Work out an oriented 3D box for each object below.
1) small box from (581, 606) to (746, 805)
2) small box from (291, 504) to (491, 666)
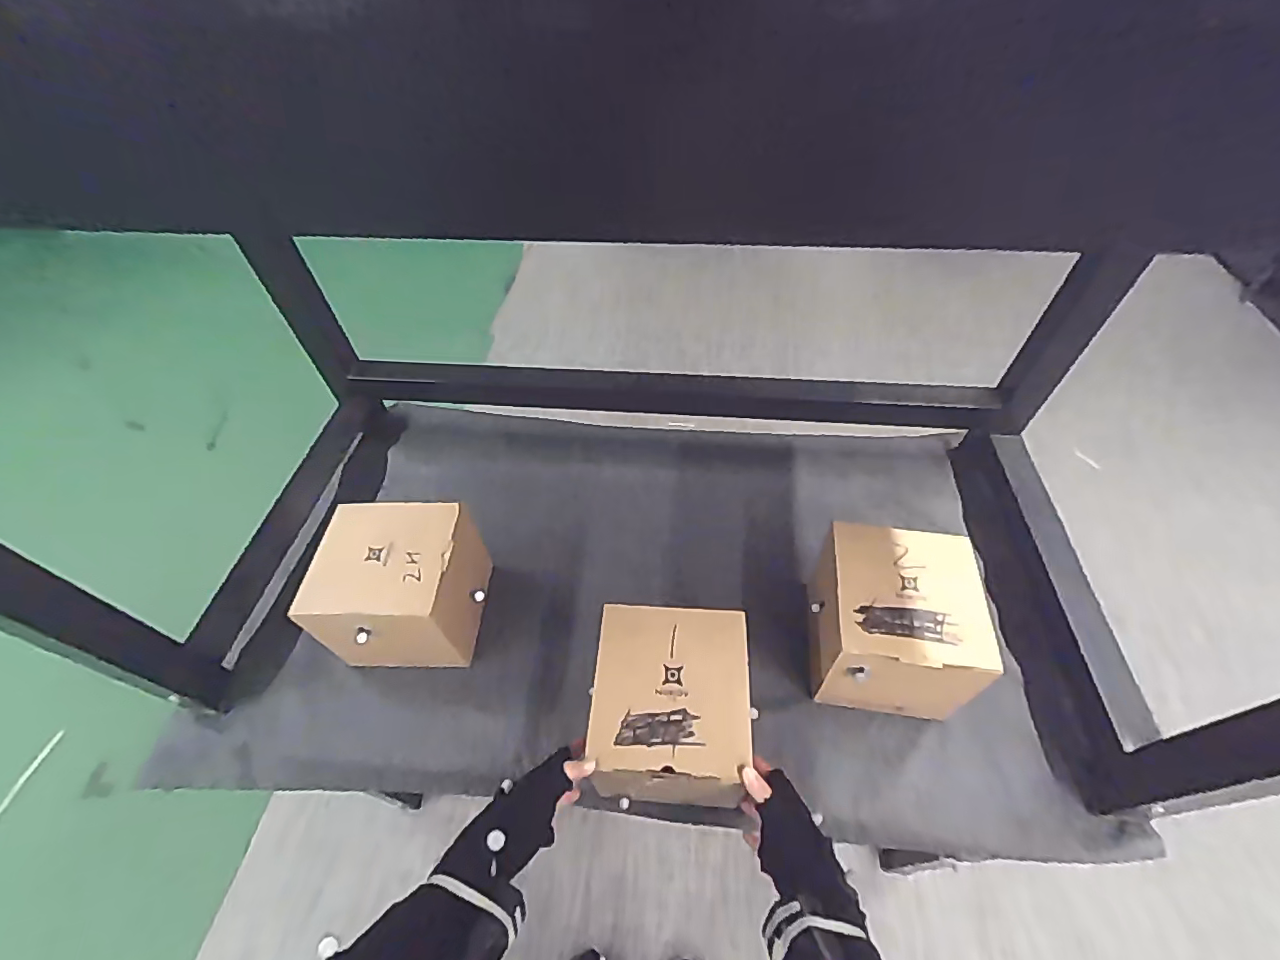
[{"bbox_3d":[0.033,0.269,0.637,0.168,0.176,0.179,3,51,5],"label":"small box"},{"bbox_3d":[-0.326,0.149,0.752,0.179,0.176,0.168,0,51,3],"label":"small box"}]
